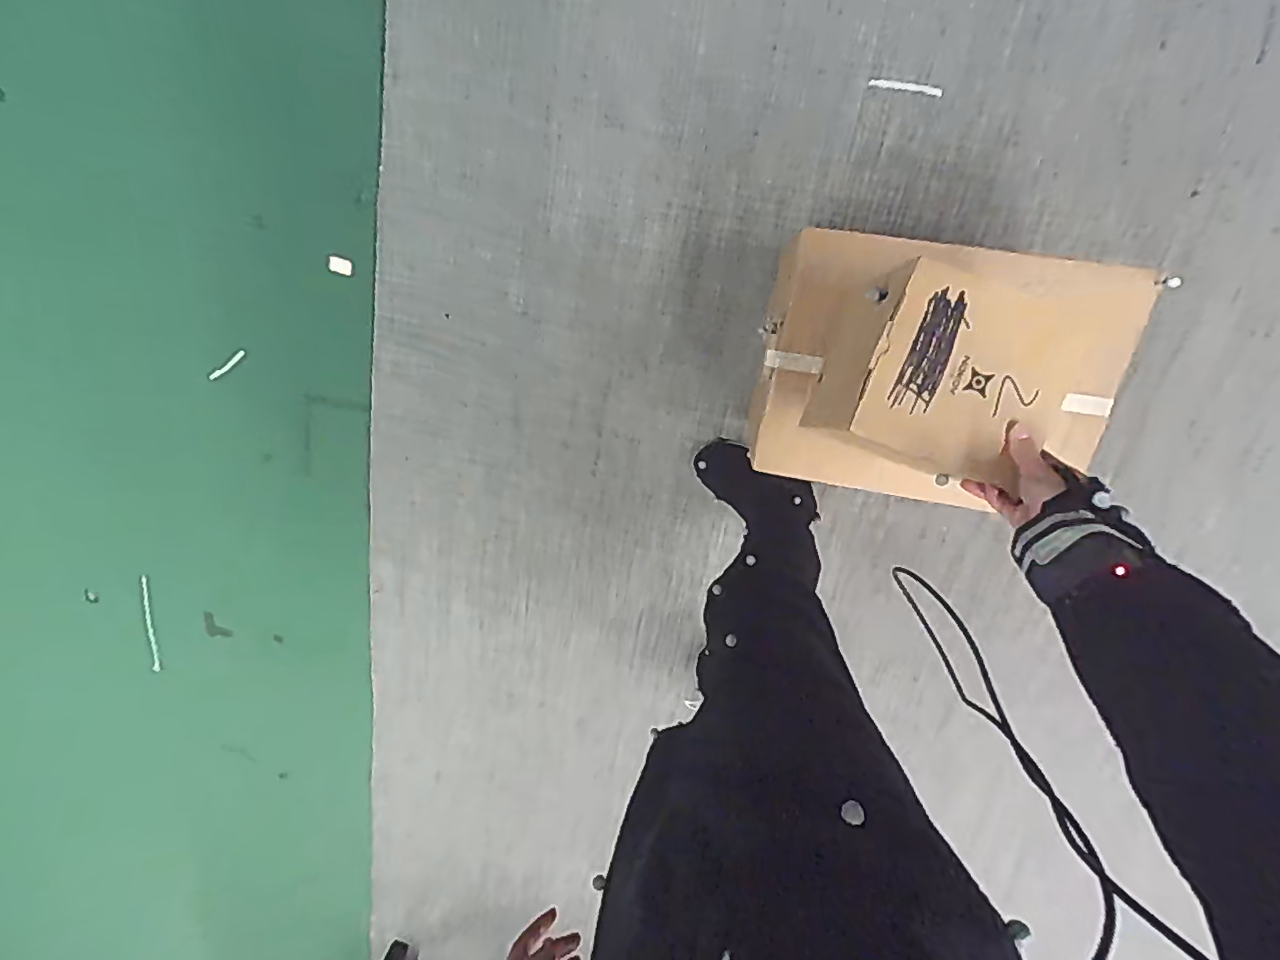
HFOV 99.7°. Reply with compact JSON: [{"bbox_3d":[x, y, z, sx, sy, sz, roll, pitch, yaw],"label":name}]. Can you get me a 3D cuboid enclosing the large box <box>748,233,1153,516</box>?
[{"bbox_3d":[0.391,-0.168,0.819,0.408,0.320,0.320,10,110,6],"label":"large box"}]
